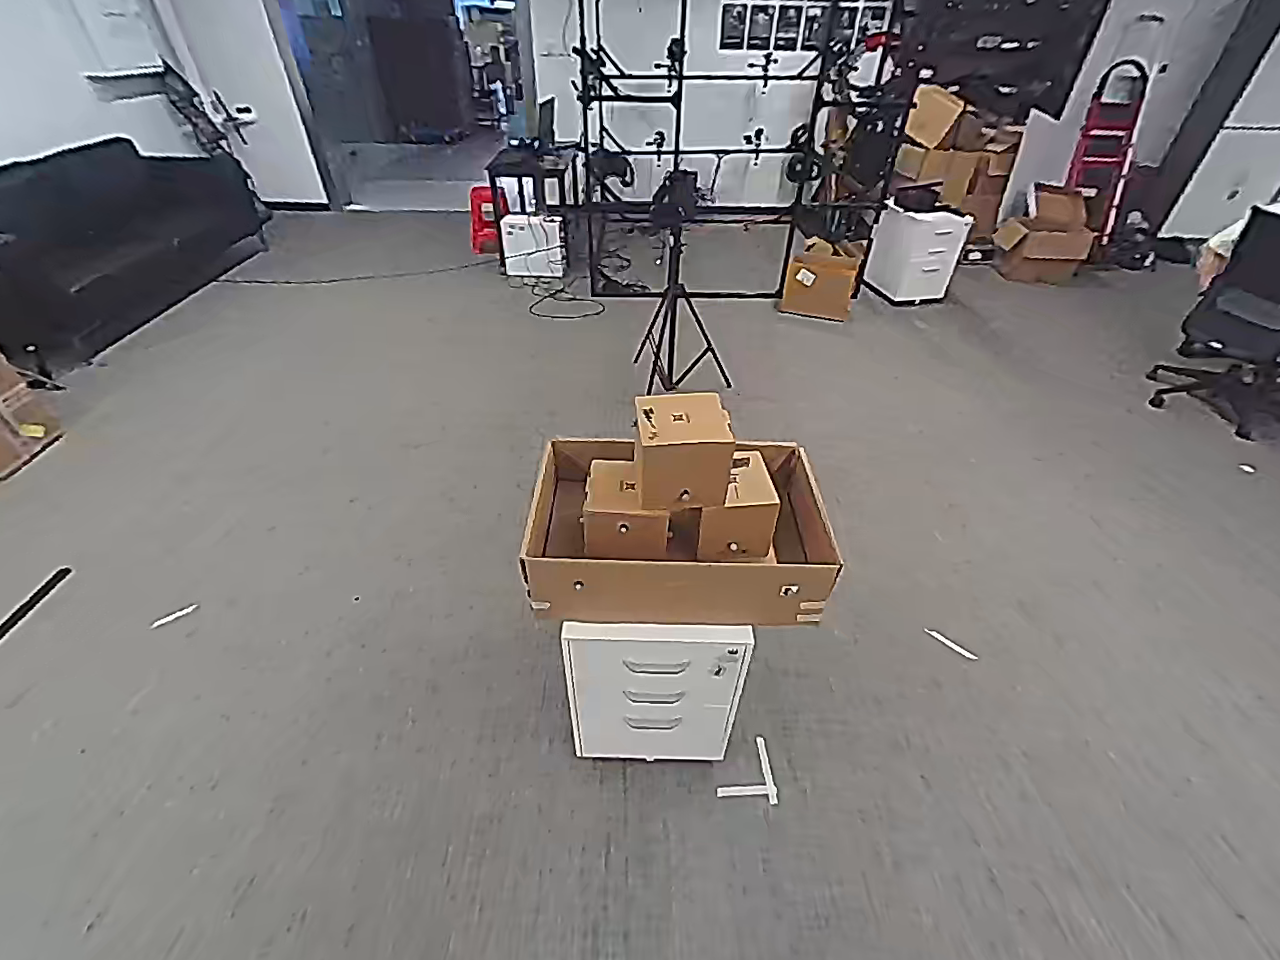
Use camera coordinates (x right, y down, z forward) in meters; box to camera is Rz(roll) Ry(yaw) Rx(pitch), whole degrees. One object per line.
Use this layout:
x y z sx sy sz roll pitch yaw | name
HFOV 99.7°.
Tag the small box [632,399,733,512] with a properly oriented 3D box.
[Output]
0.078 -0.050 1.106 0.179 0.176 0.168 -2 41 -5 | small box
